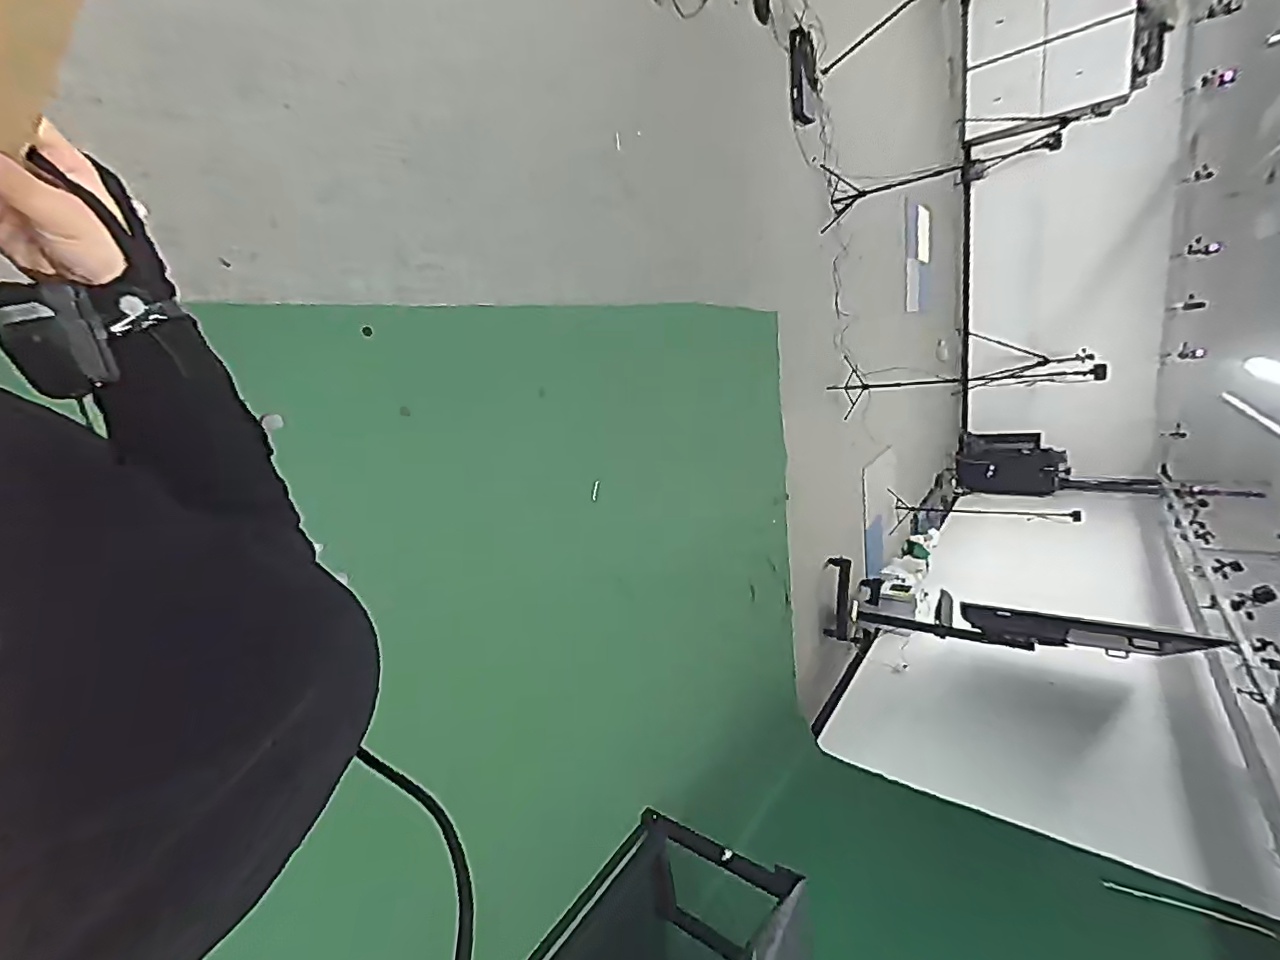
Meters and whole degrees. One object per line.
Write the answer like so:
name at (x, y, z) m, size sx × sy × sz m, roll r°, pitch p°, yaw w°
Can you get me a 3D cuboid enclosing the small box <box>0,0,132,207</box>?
small box at (-0.336, -0.184, 0.173) m, size 0.179 × 0.176 × 0.168 m, roll 49°, pitch 47°, yaw -37°
